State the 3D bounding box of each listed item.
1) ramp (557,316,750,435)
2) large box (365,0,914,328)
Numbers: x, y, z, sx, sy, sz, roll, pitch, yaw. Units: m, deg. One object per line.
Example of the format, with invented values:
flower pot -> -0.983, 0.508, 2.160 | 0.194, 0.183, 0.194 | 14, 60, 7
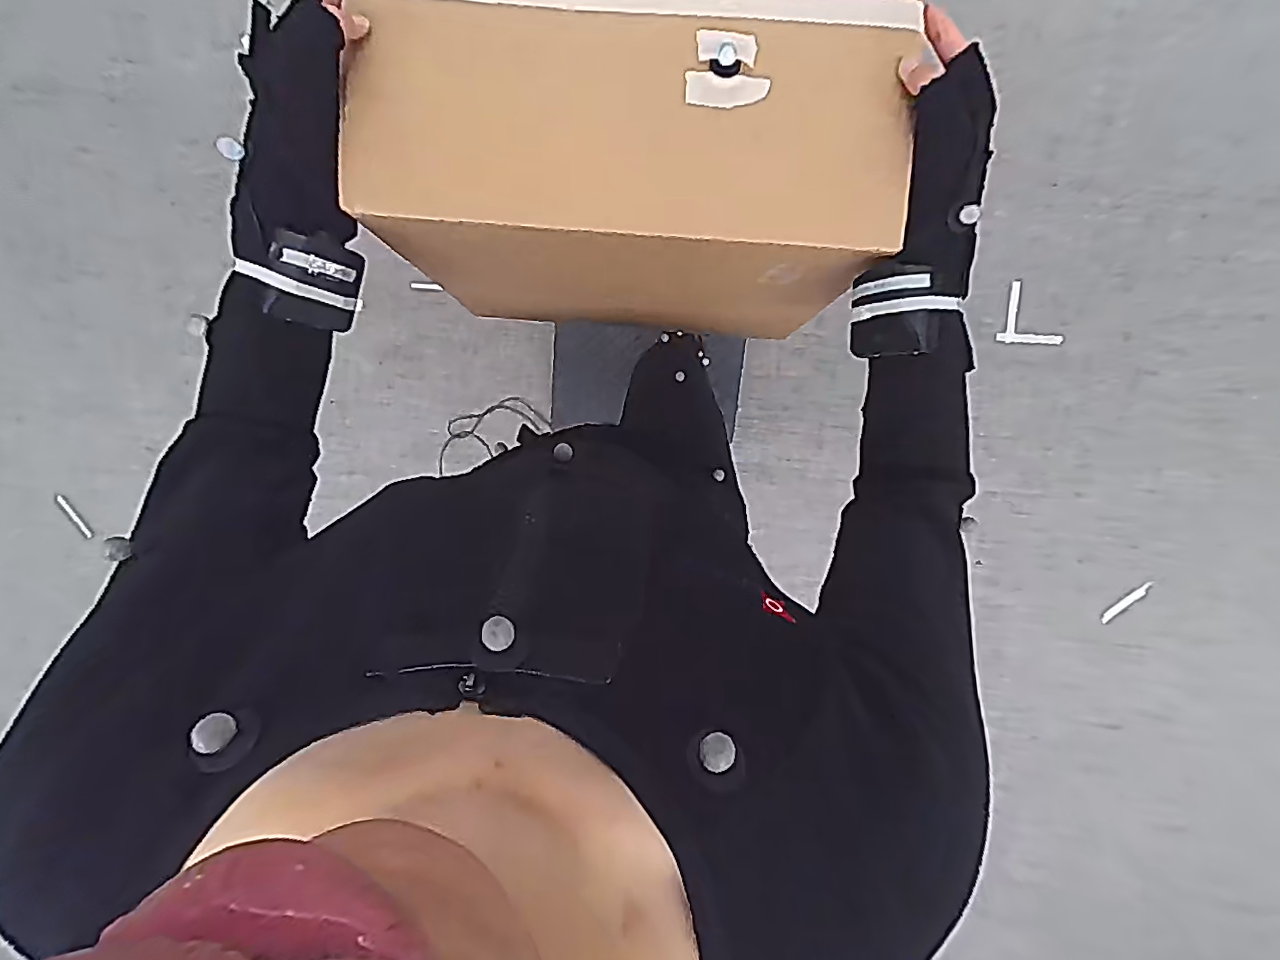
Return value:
ramp -> 0.058, -0.615, 1.321 | 0.509, 0.206, 0.991 | 3, 97, -1
large box -> 0.000, -0.351, 0.543 | 0.408, 0.320, 0.320 | 4, 94, -1
